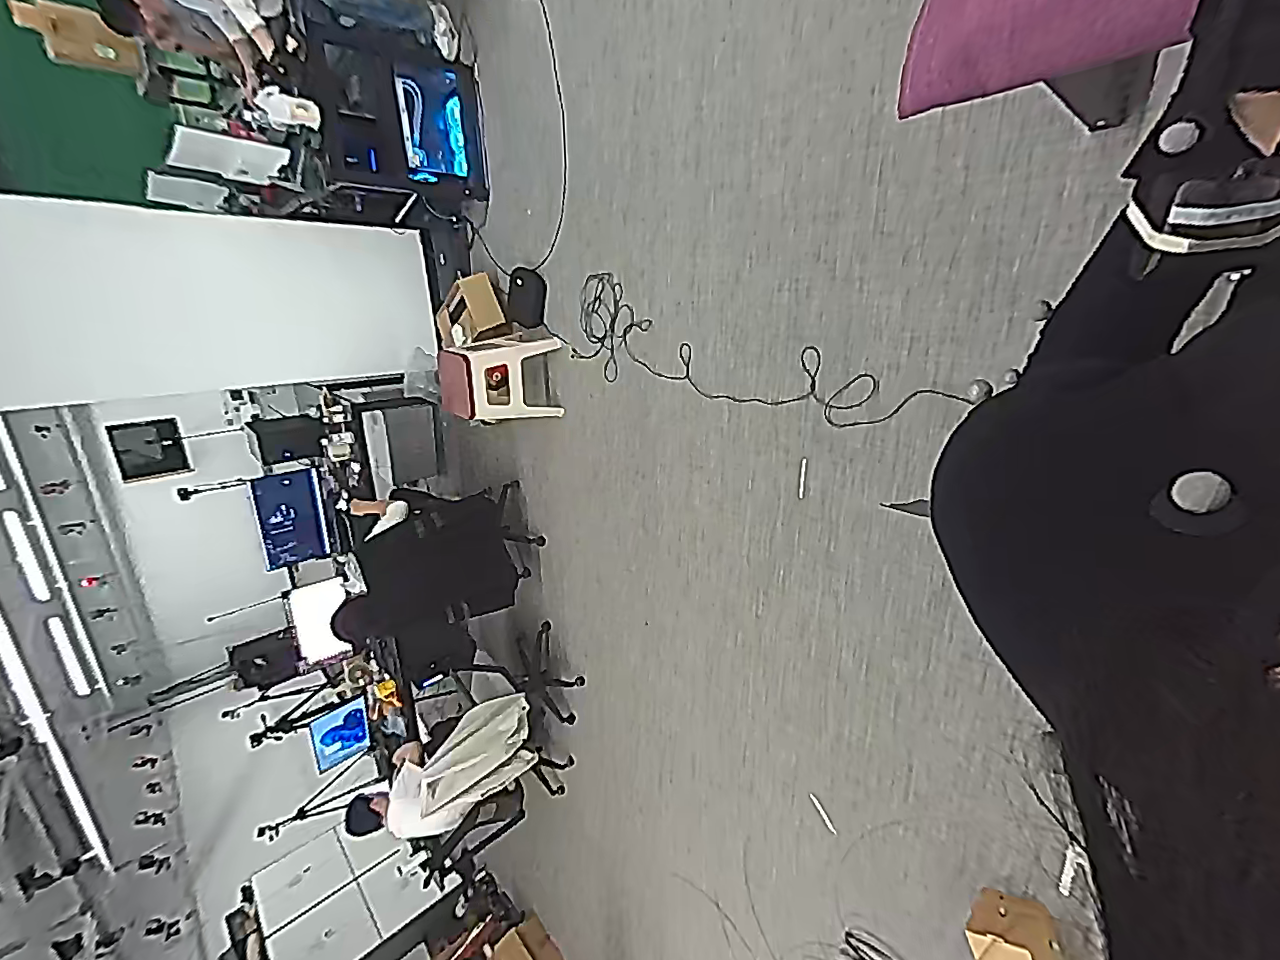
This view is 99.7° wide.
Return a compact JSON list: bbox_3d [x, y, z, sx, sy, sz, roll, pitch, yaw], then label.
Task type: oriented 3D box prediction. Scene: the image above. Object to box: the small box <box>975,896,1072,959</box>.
[{"bbox_3d":[1.084,1.328,1.520,0.168,0.176,0.179,-23,85,50],"label":"small box"}]
